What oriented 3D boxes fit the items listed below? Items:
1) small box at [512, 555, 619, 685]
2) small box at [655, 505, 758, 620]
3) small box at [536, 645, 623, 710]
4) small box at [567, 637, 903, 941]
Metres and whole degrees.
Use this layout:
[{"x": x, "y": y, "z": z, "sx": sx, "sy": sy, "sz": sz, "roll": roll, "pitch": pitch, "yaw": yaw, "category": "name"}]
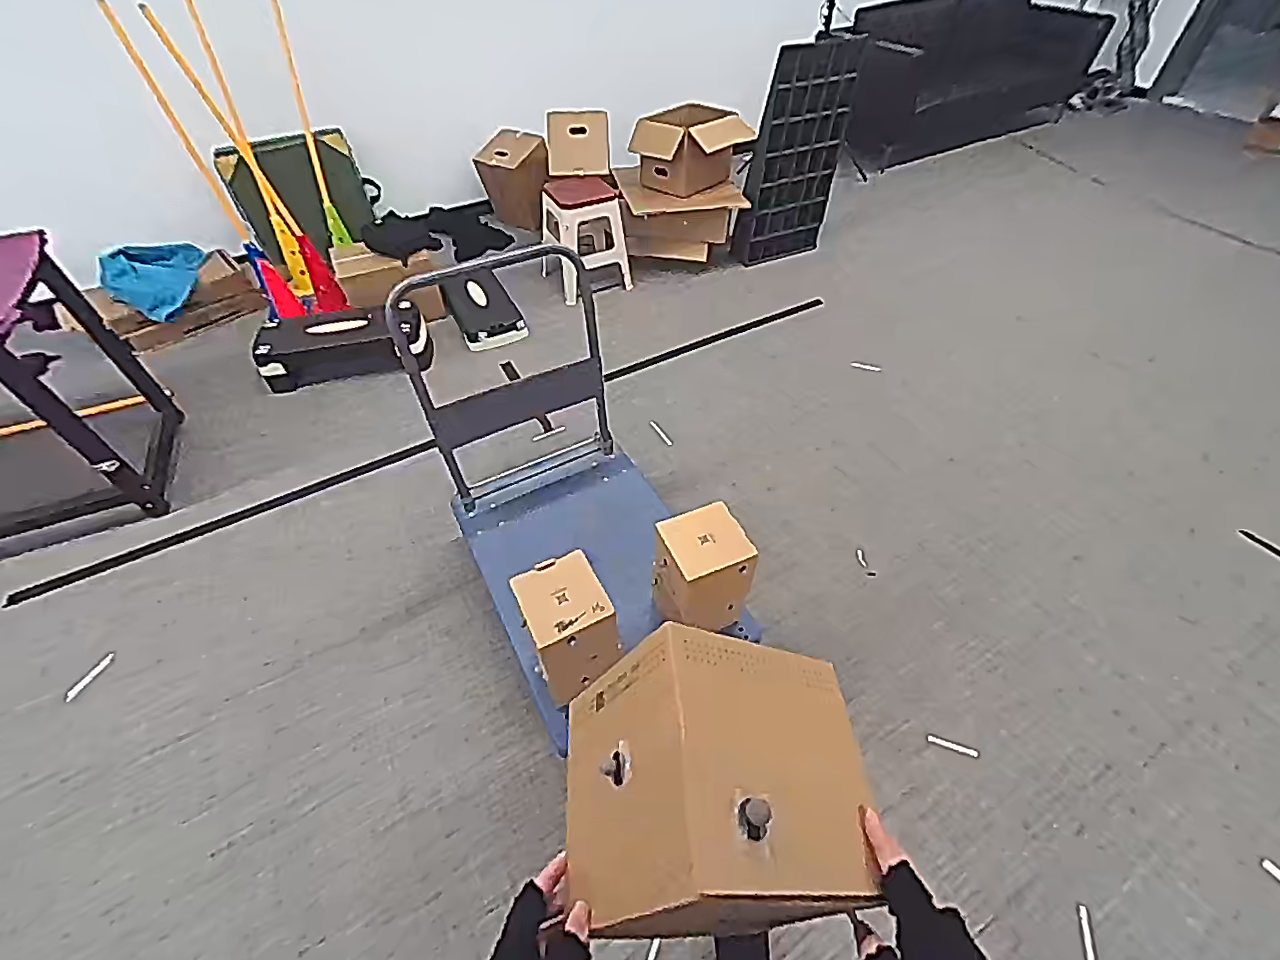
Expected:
[{"x": -0.155, "y": 0.297, "z": 1.146, "sx": 0.168, "sy": 0.176, "sz": 0.179, "roll": -22, "pitch": 51, "yaw": -18, "category": "small box"}, {"x": 0.145, "y": 0.192, "z": 1.238, "sx": 0.179, "sy": 0.176, "sz": 0.168, "roll": -18, "pitch": 50, "yaw": -16, "category": "small box"}, {"x": -0.148, "y": 0.406, "z": 1.269, "sx": 0.179, "sy": 0.176, "sz": 0.168, "roll": -20, "pitch": 51, "yaw": -16, "category": "small box"}, {"x": 0.058, "y": 0.244, "z": 0.429, "sx": 0.179, "sy": 0.168, "sz": 0.176, "roll": 22, "pitch": 41, "yaw": -25, "category": "small box"}]
